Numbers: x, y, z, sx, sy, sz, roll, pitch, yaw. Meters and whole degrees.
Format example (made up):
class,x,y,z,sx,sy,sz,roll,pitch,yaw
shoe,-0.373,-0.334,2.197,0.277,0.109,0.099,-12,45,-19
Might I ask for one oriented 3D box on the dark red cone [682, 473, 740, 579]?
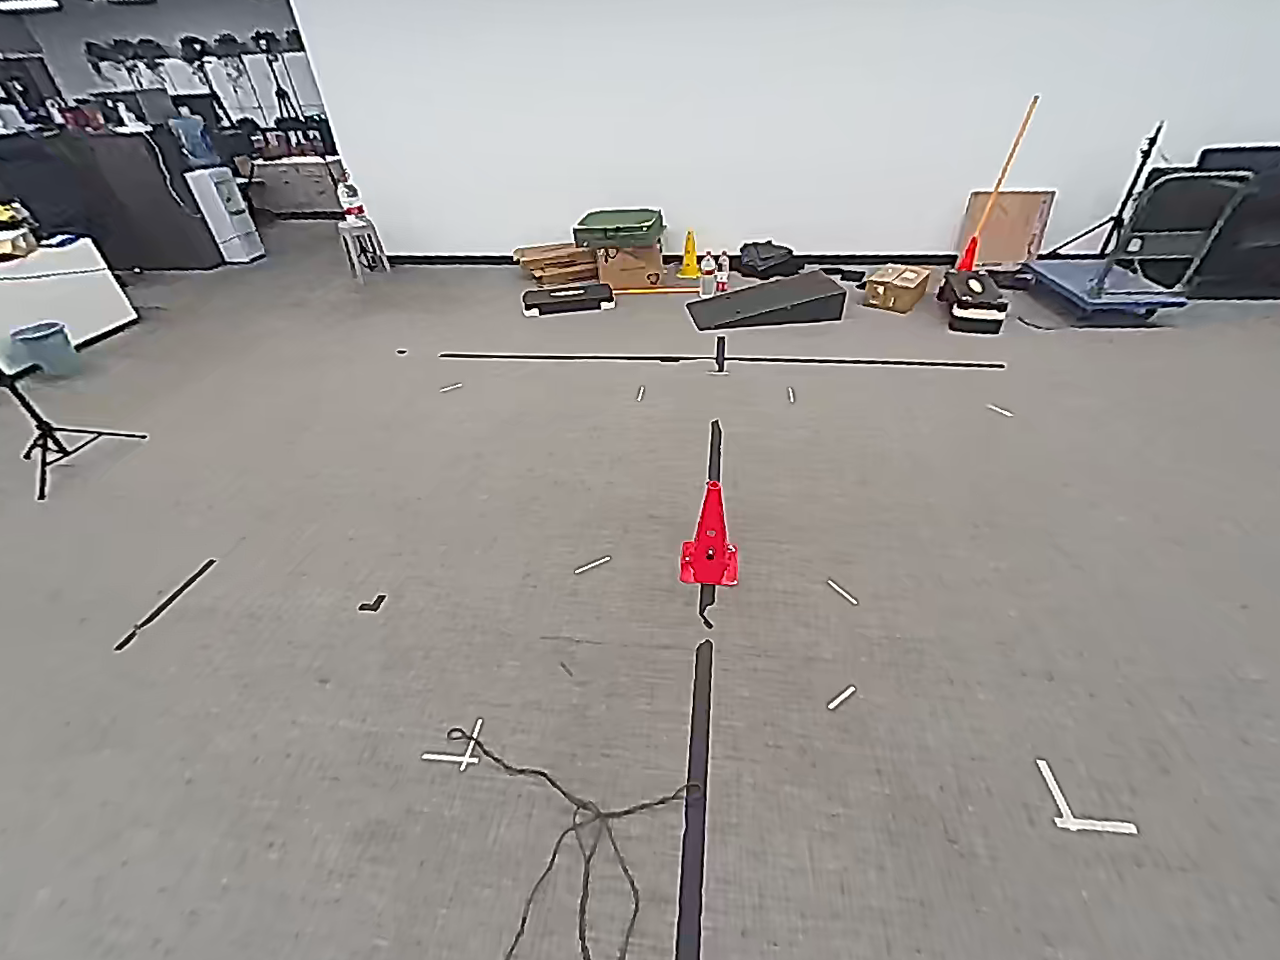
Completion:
class,x,y,z,sx,sy,sz,roll,pitch,yaw
dark red cone,0.241,0.140,1.807,0.201,0.394,0.202,2,38,7
